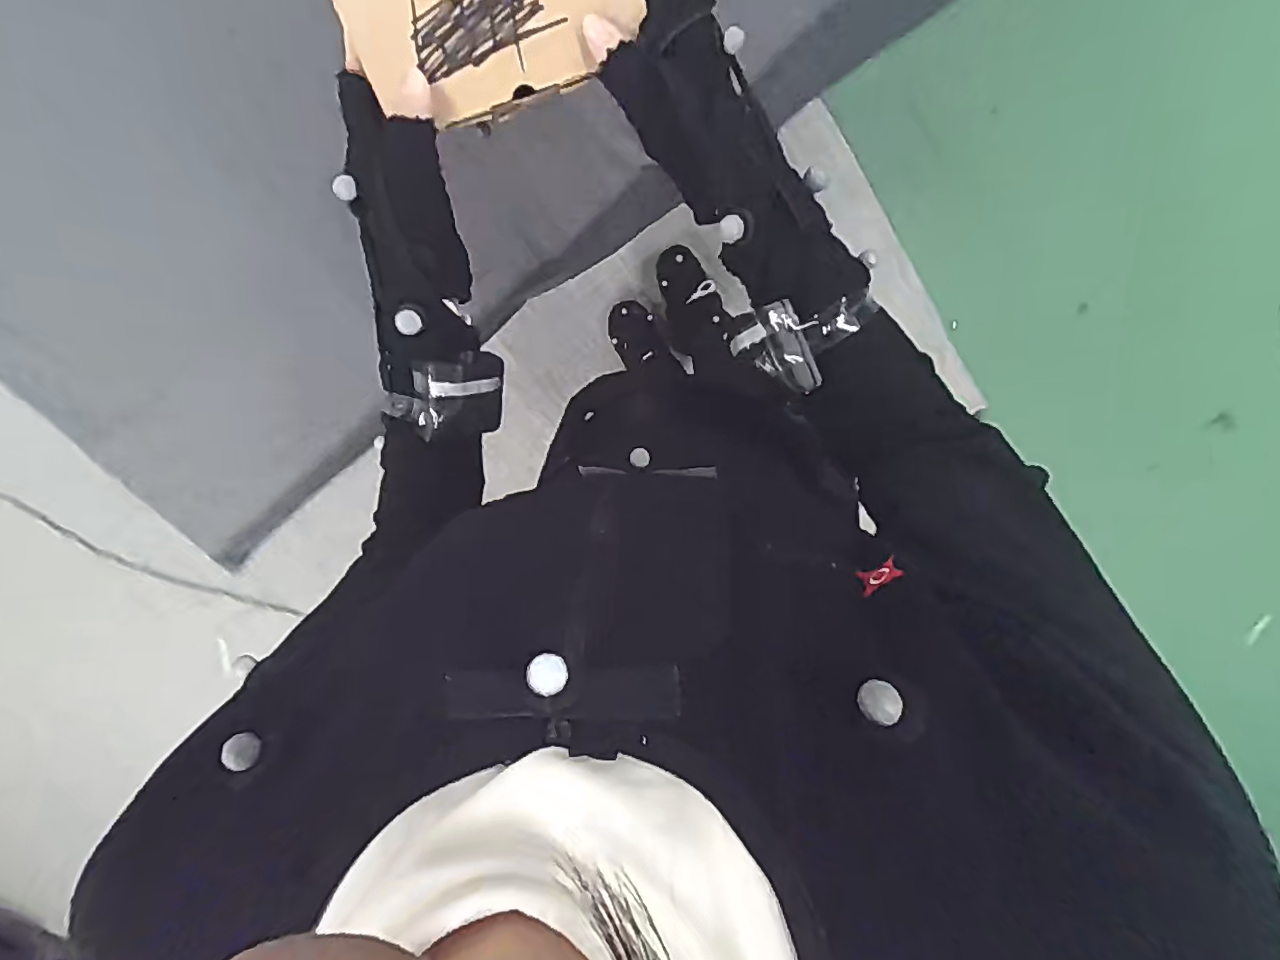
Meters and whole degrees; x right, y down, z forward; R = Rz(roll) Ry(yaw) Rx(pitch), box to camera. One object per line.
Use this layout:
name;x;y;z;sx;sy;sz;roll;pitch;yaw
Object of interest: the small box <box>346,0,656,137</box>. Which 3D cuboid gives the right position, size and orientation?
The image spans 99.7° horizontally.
small box;-0.094;-0.344;0.339;0.168;0.176;0.179;-15;126;4
